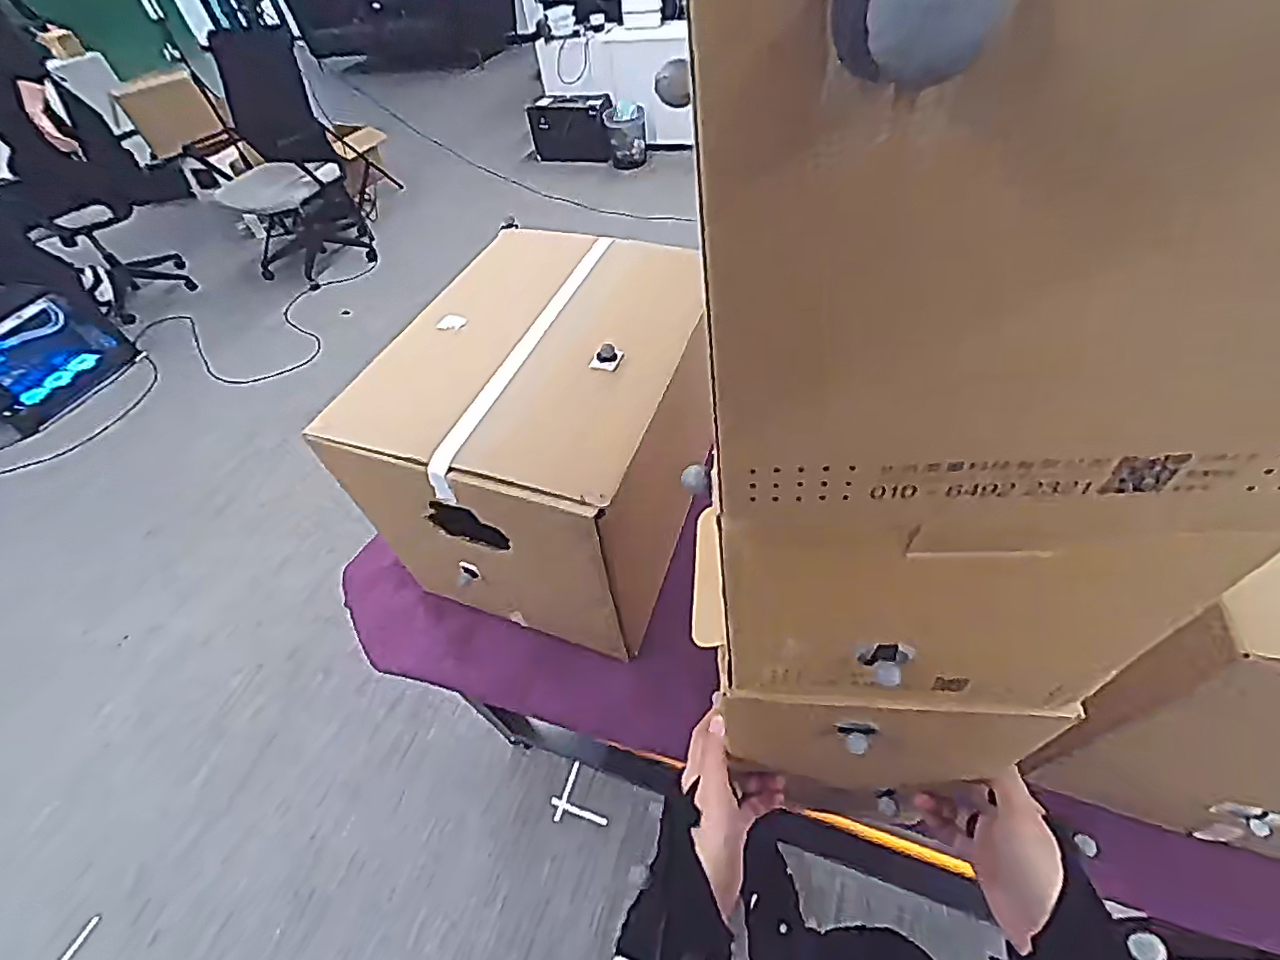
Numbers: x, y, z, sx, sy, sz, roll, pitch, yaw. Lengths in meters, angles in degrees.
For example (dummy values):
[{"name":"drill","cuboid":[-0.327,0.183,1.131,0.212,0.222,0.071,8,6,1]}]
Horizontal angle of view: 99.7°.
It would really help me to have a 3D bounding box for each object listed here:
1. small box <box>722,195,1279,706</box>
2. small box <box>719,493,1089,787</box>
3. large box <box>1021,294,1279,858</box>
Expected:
[{"name":"small box","cuboid":[0.124,-0.008,0.262,0.168,0.176,0.179,-2,51,10]},{"name":"small box","cuboid":[0.148,0.102,0.379,0.179,0.176,0.168,0,51,10]},{"name":"large box","cuboid":[0.563,0.083,0.491,0.320,0.320,0.408,12,51,16]}]
